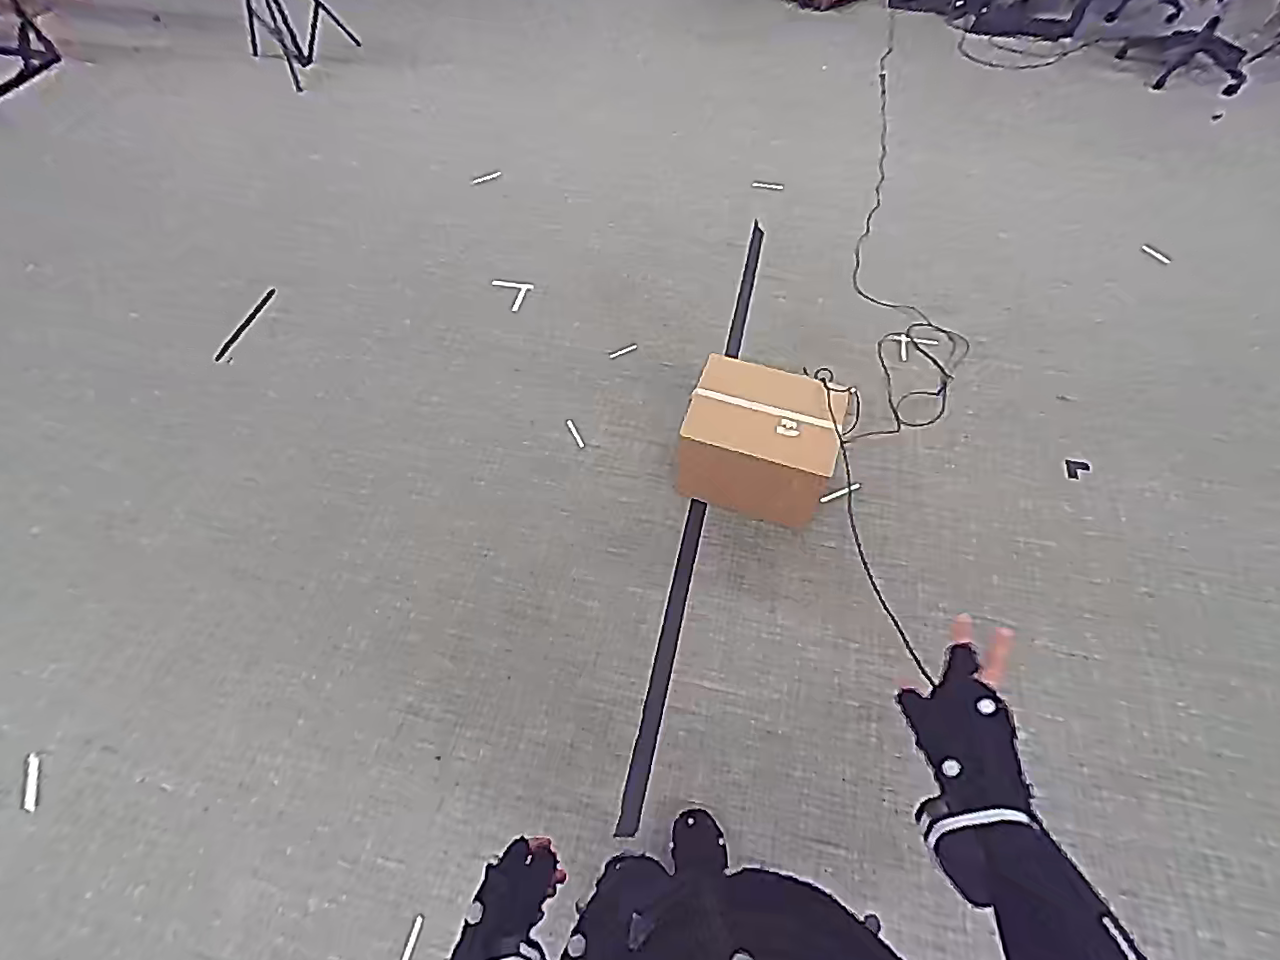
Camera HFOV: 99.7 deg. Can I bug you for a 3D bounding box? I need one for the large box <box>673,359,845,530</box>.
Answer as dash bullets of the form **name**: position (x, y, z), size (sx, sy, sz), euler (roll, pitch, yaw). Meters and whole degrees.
- **large box**: position (0.336, -0.100, 1.589), size (0.408, 0.320, 0.320), euler (17, 60, 10)
